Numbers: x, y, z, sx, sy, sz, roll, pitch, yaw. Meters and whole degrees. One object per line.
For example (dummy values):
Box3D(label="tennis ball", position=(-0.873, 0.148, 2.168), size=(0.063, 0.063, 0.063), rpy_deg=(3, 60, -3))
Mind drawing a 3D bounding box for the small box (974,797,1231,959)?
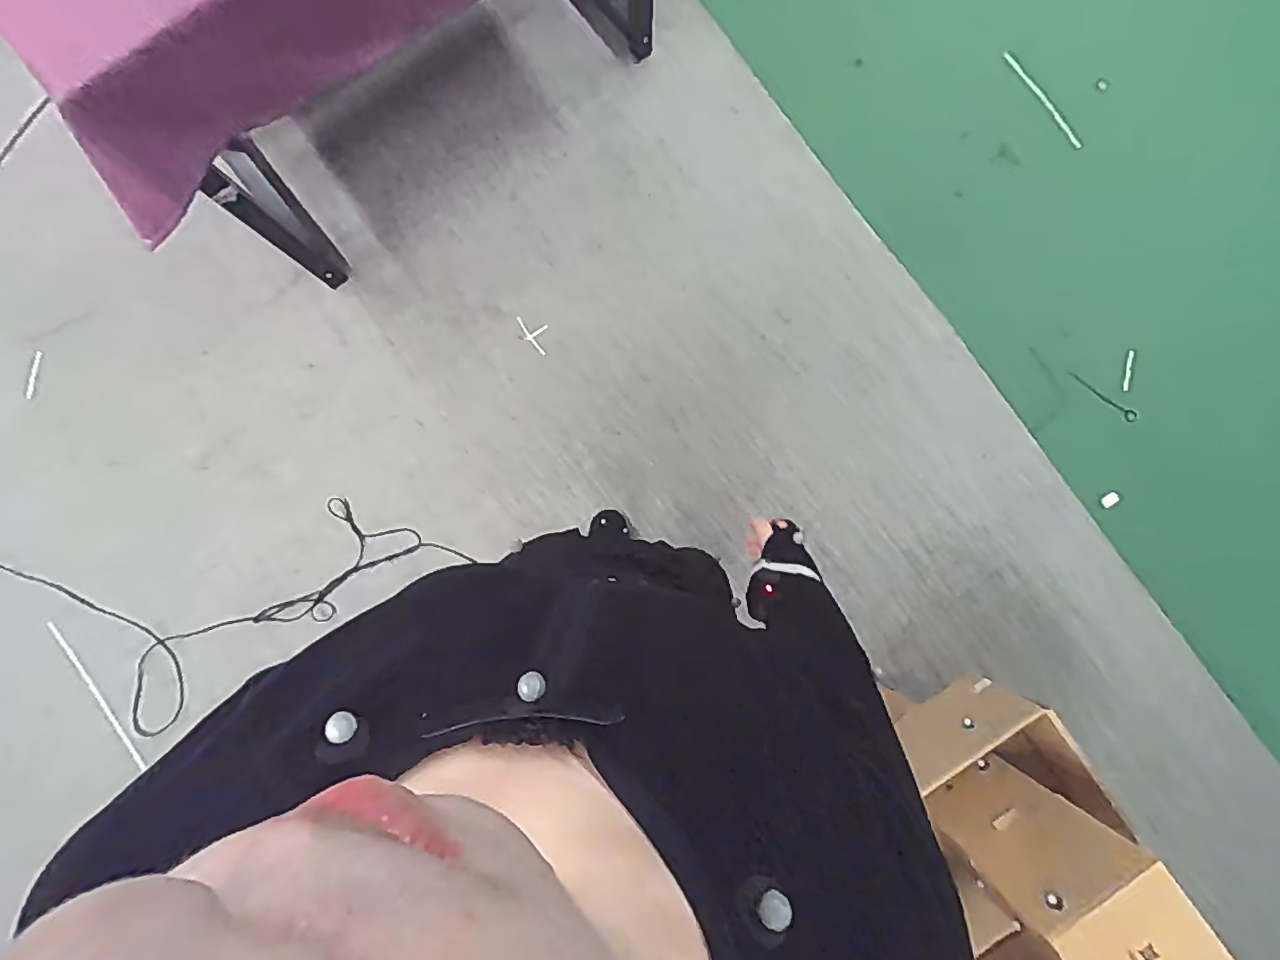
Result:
Box3D(label="small box", position=(0.617, 0.585, 0.744), size=(0.179, 0.176, 0.168), rpy_deg=(-35, 86, -1))
